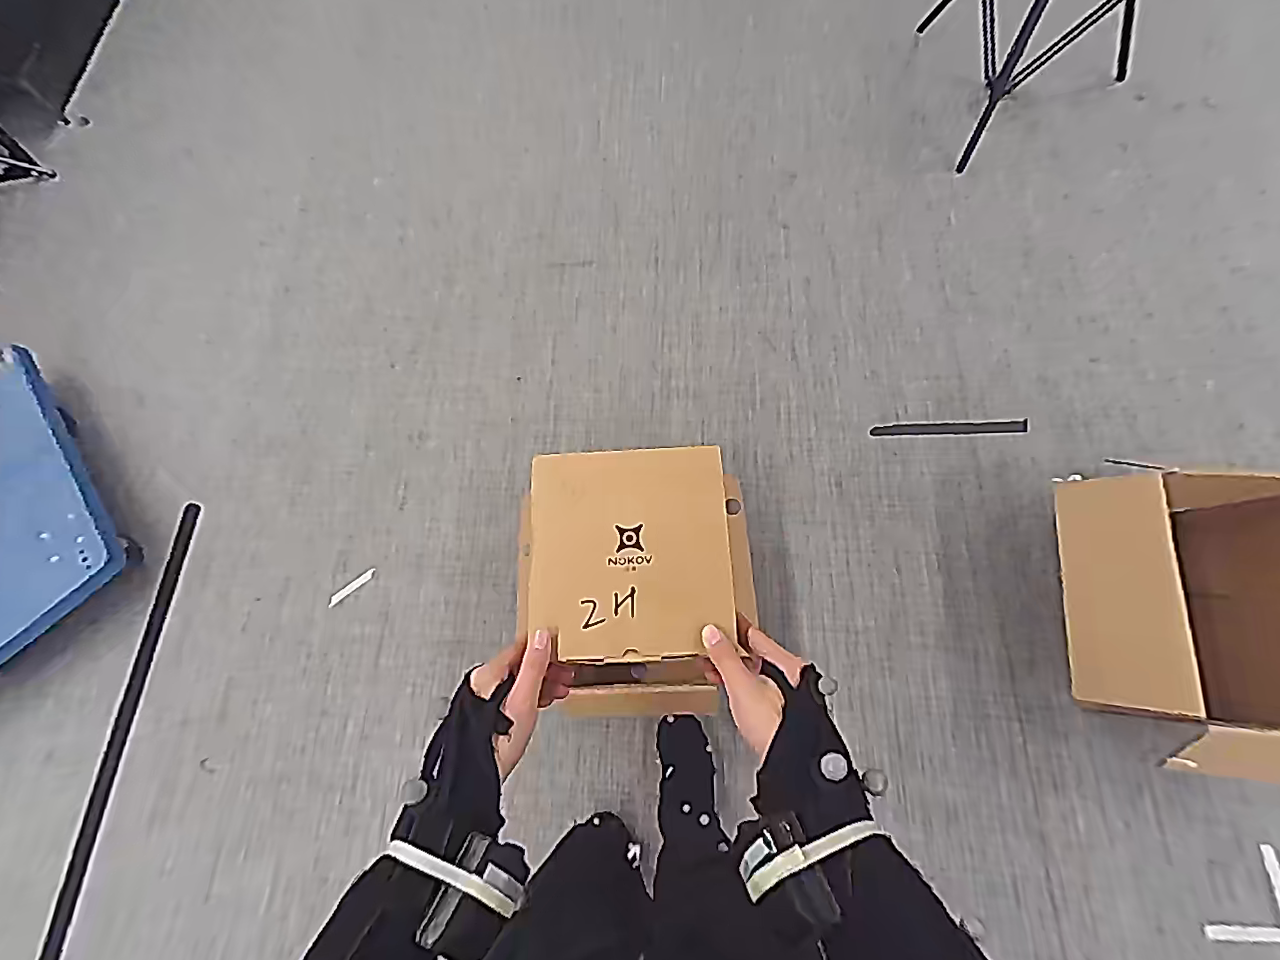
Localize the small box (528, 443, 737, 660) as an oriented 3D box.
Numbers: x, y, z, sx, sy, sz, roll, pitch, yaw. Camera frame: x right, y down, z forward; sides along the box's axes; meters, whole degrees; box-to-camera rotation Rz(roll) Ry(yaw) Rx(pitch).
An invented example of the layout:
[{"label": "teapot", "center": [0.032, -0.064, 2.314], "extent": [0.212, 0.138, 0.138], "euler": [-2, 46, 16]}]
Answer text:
[{"label": "small box", "center": [-0.005, 0.078, 0.520], "extent": [0.168, 0.176, 0.179], "euler": [-3, 72, 3]}]
